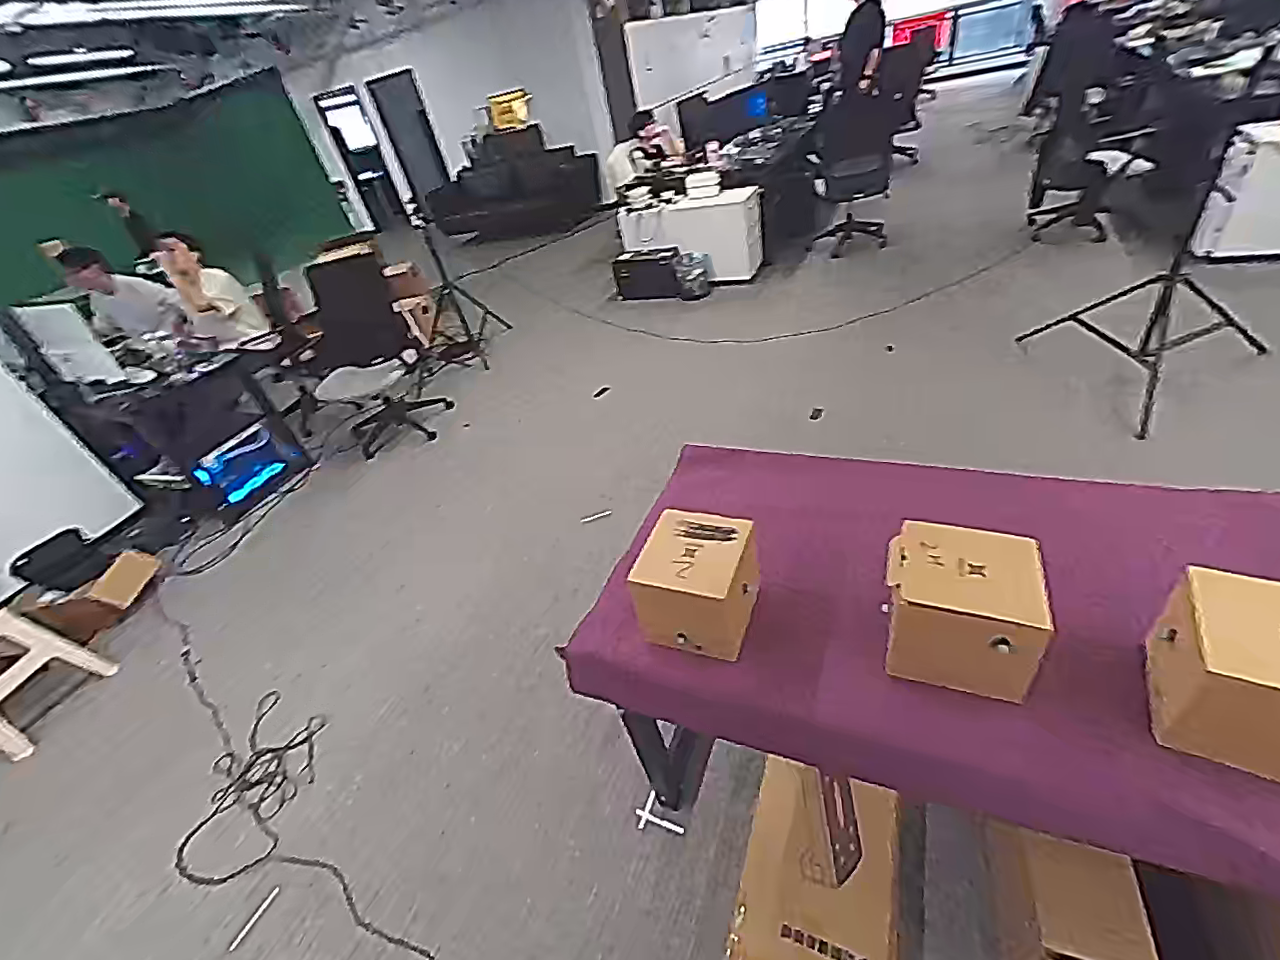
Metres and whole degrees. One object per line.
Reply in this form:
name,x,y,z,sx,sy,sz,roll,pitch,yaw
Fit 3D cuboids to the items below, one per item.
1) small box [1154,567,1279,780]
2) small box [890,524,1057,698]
small box,0.750,0.235,0.640,0.179,0.176,0.168,12,44,30
small box,0.473,0.190,0.790,0.179,0.176,0.168,6,39,25
